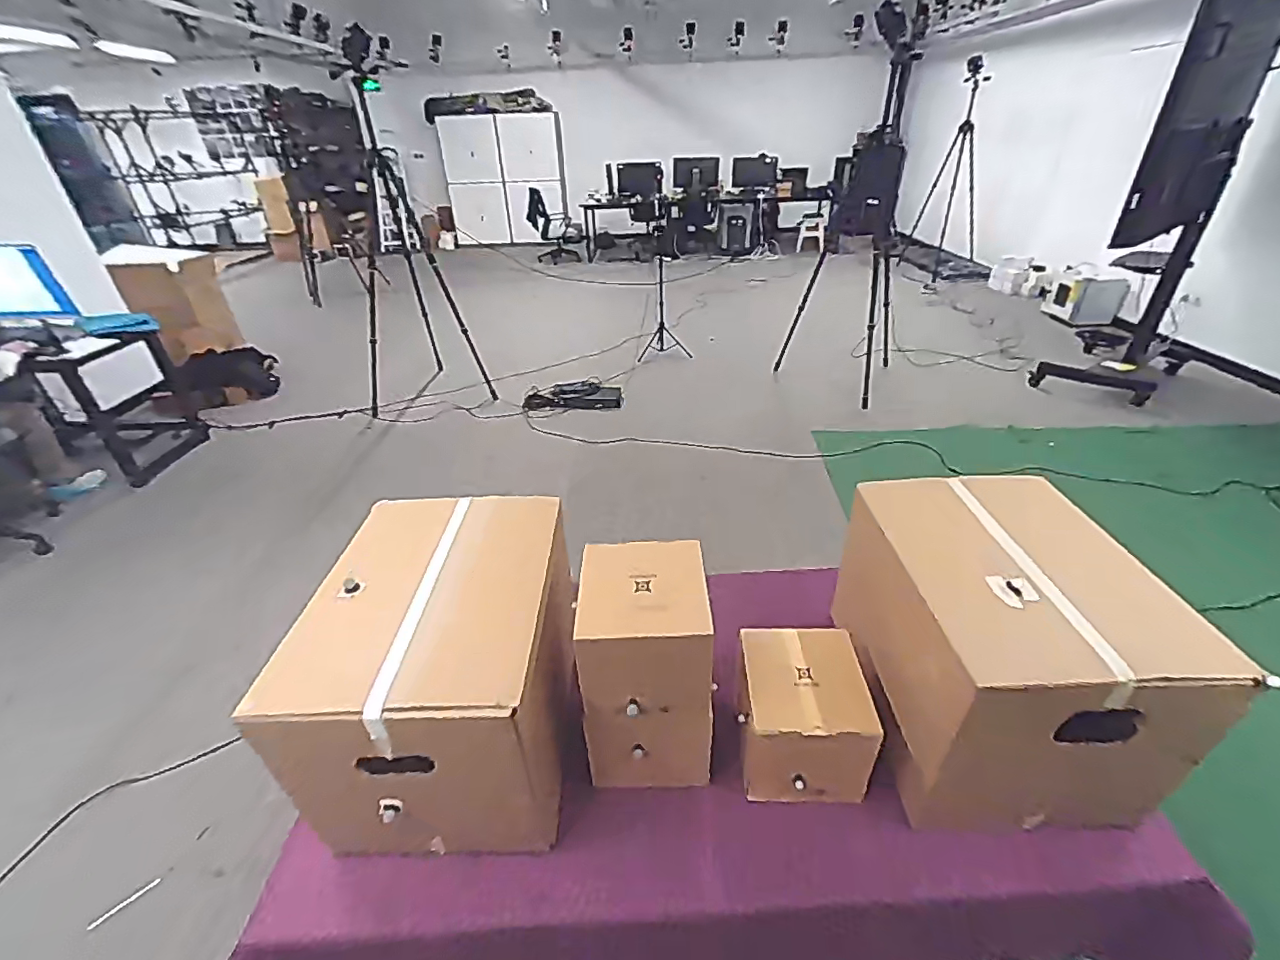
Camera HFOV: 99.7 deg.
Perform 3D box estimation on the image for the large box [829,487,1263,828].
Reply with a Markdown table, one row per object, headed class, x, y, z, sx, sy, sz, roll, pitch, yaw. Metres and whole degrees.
| class | x | y | z | sx | sy | sz | roll | pitch | yaw |
| --- | --- | --- | --- | --- | --- | --- | --- | --- | --- |
| large box | 0.524 | 0.248 | 0.830 | 0.320 | 0.320 | 0.408 | -1 | 33 | 1 |
